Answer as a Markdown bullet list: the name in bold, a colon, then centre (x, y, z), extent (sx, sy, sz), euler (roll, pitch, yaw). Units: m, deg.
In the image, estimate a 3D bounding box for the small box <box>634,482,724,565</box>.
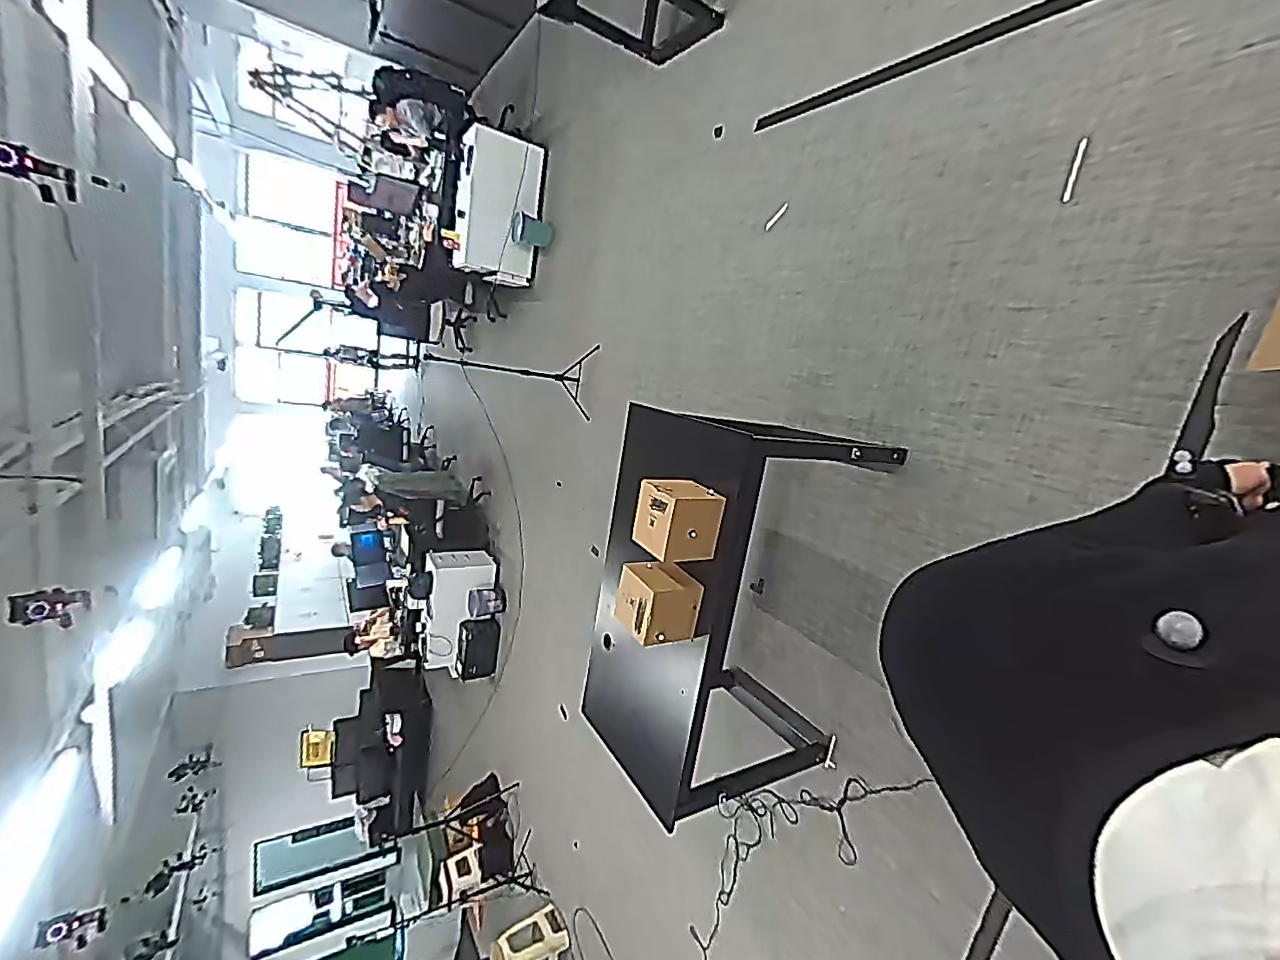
- **small box**: centre (0.106, 0.110, 1.458), extent (0.168, 0.176, 0.179), euler (31, 116, 55)
